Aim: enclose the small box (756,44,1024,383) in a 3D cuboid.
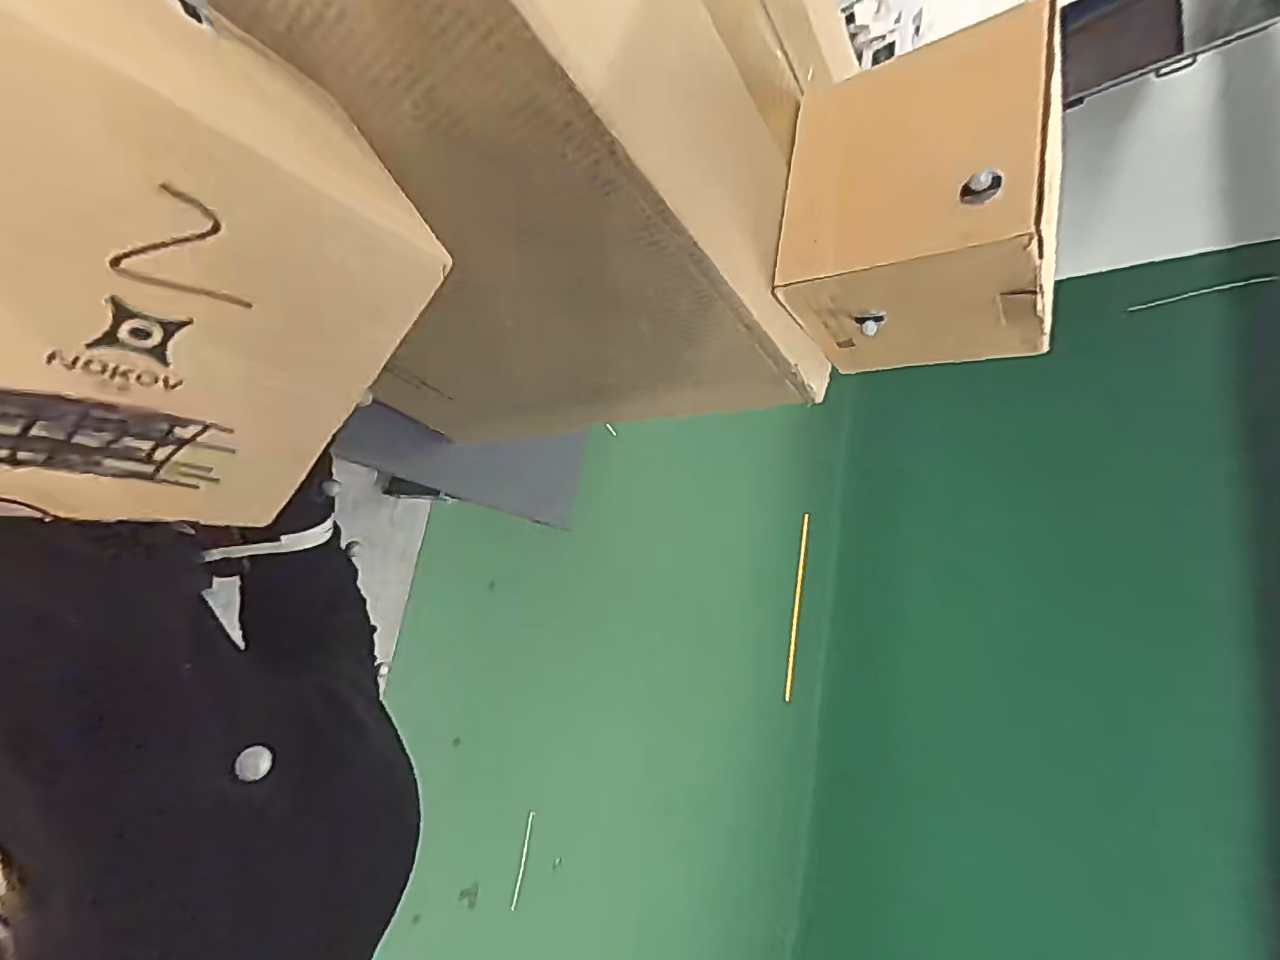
[{"bbox_3d":[0.212,-0.193,0.453,0.168,0.176,0.179,22,77,-51],"label":"small box"}]
